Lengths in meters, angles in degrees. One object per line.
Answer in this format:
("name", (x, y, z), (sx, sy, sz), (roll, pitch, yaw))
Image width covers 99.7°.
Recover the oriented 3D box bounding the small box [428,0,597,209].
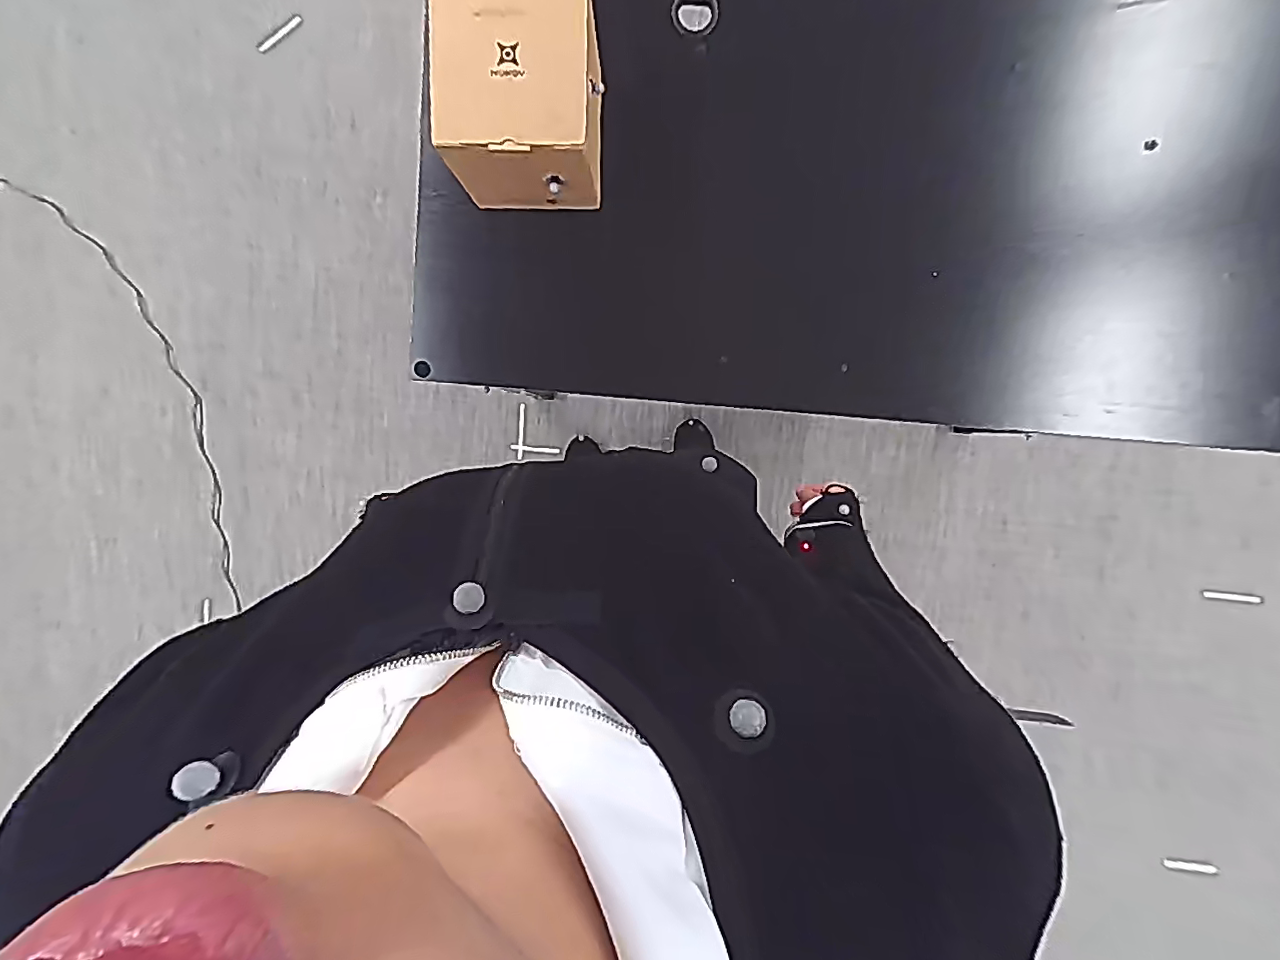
("small box", (-0.140, -0.445, 0.648), (0.168, 0.176, 0.179), (1, 94, 0))
